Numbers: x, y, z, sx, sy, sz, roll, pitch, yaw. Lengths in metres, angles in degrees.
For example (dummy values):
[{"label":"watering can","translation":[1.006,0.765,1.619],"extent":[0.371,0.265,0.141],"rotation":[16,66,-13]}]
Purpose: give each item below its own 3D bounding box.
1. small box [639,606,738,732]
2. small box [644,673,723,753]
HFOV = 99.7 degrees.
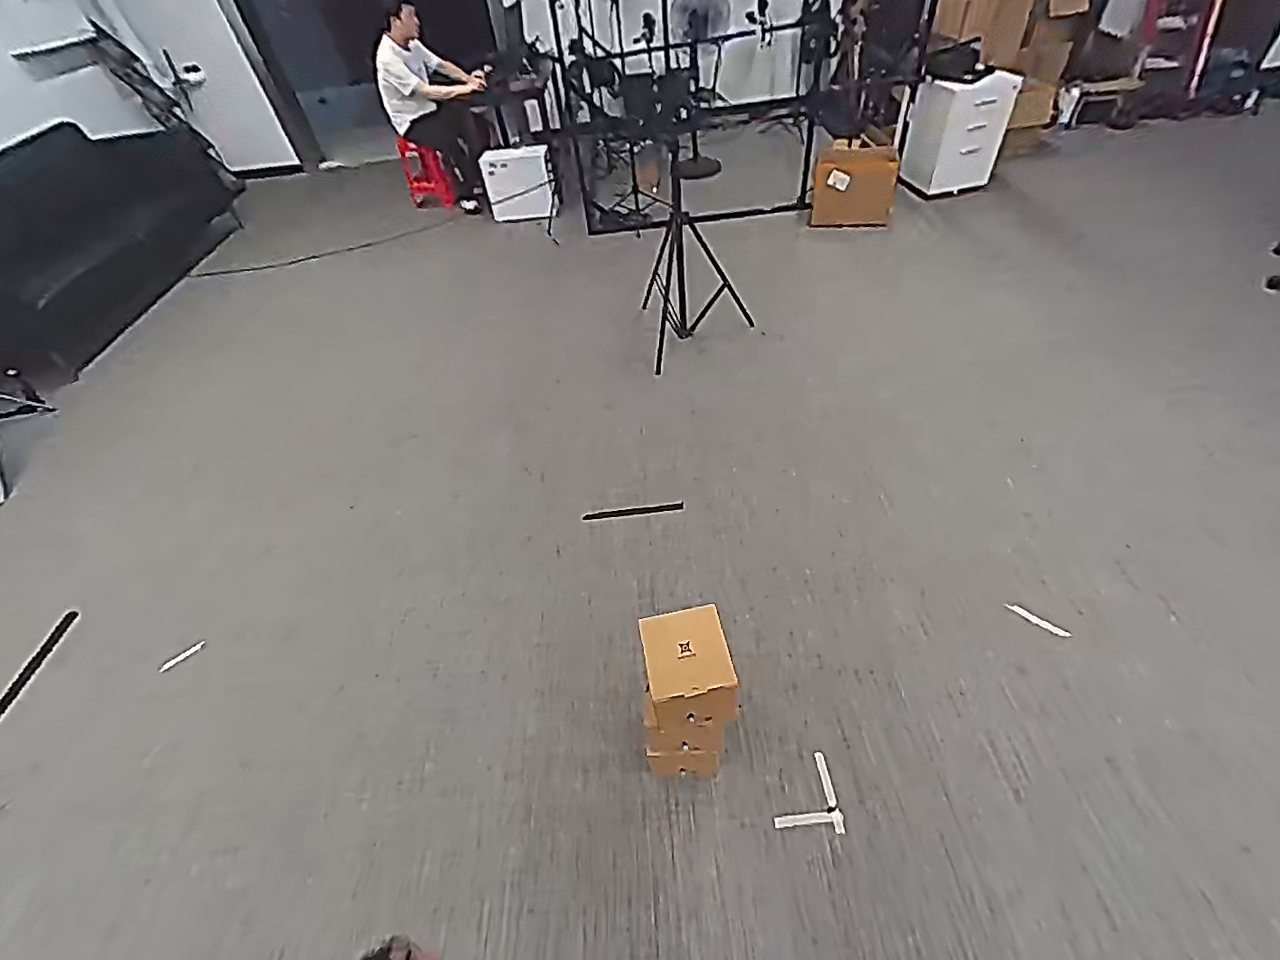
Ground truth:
[{"label":"small box","translation":[0.096,0.391,1.115],"extent":[0.168,0.176,0.179],"rotation":[-11,47,-3]},{"label":"small box","translation":[0.100,0.504,1.233],"extent":[0.168,0.176,0.179],"rotation":[-4,47,6]}]
